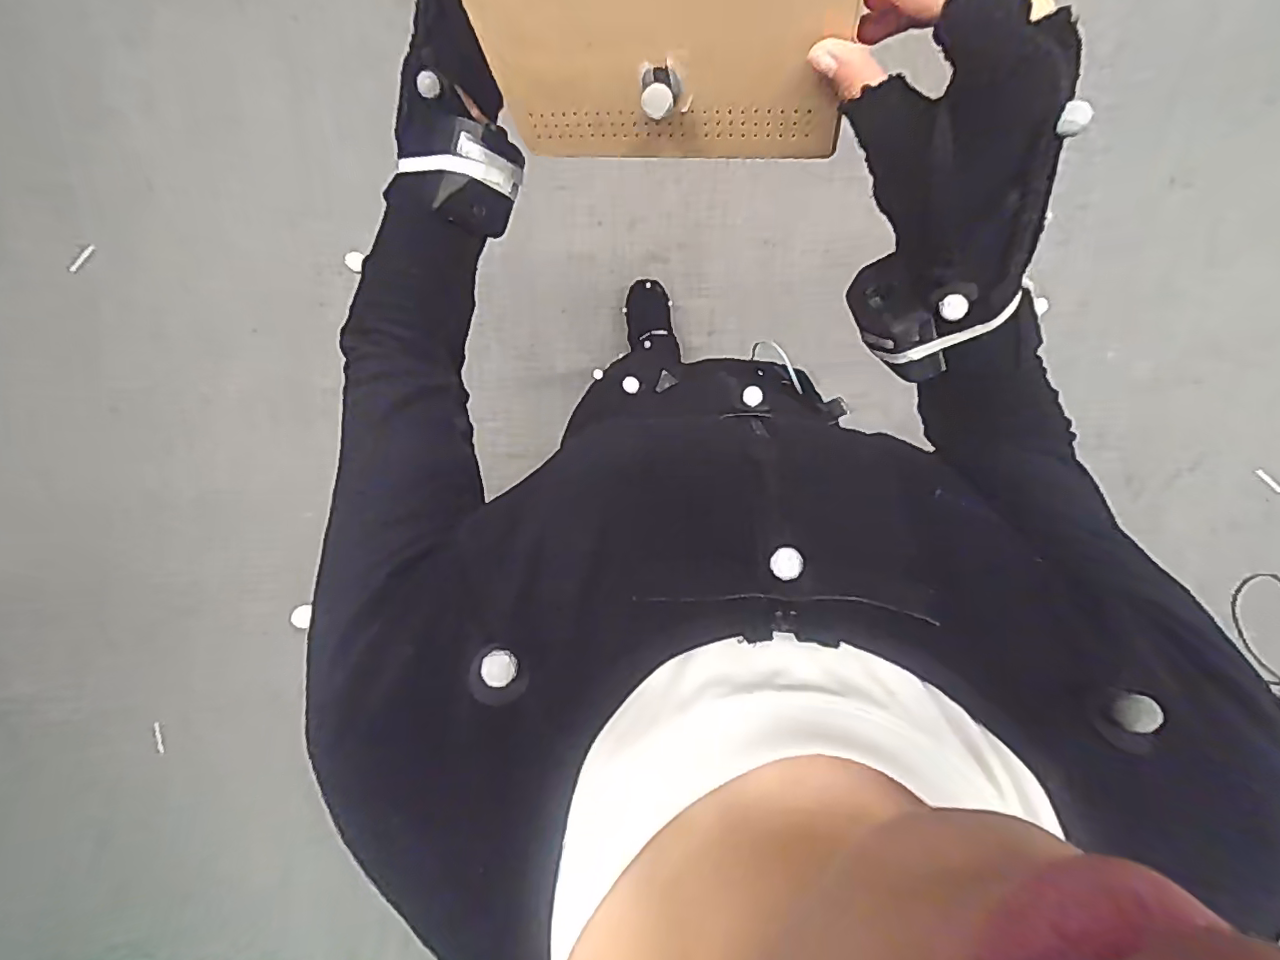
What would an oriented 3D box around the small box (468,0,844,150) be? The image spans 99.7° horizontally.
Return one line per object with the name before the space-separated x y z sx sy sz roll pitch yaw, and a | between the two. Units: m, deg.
small box | 0.016 -0.288 0.256 0.179 0.176 0.168 8 74 13
